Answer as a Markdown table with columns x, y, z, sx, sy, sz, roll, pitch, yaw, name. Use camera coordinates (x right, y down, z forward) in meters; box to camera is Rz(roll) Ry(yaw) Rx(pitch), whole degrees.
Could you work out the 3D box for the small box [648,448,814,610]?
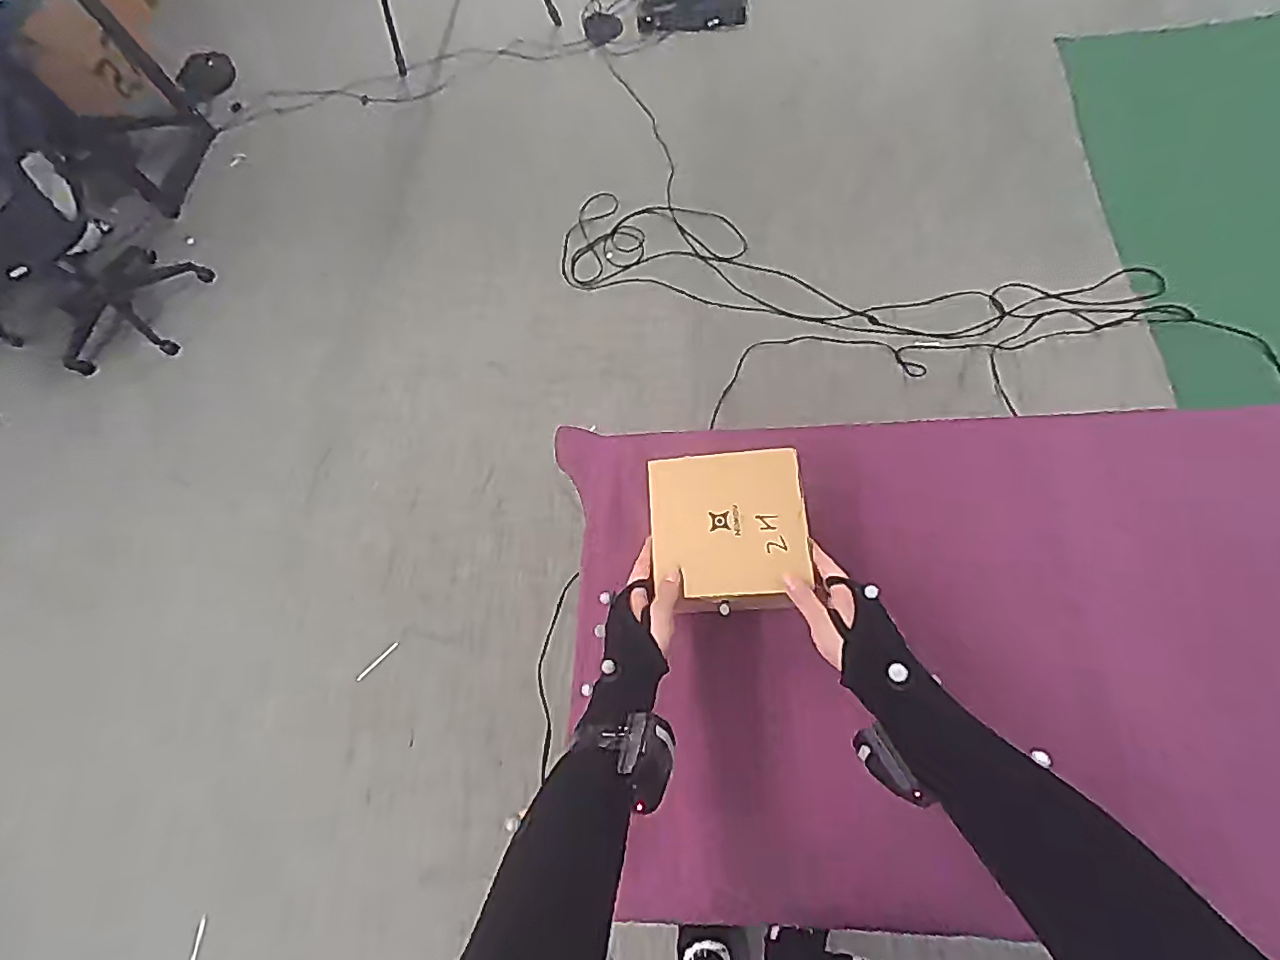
| x | y | z | sx | sy | sz | roll | pitch | yaw | name |
| --- | --- | --- | --- | --- | --- | --- | --- | --- | --- |
| 0.110 | 0.071 | 0.684 | 0.179 | 0.176 | 0.168 | -4 | 71 | 7 | small box |
